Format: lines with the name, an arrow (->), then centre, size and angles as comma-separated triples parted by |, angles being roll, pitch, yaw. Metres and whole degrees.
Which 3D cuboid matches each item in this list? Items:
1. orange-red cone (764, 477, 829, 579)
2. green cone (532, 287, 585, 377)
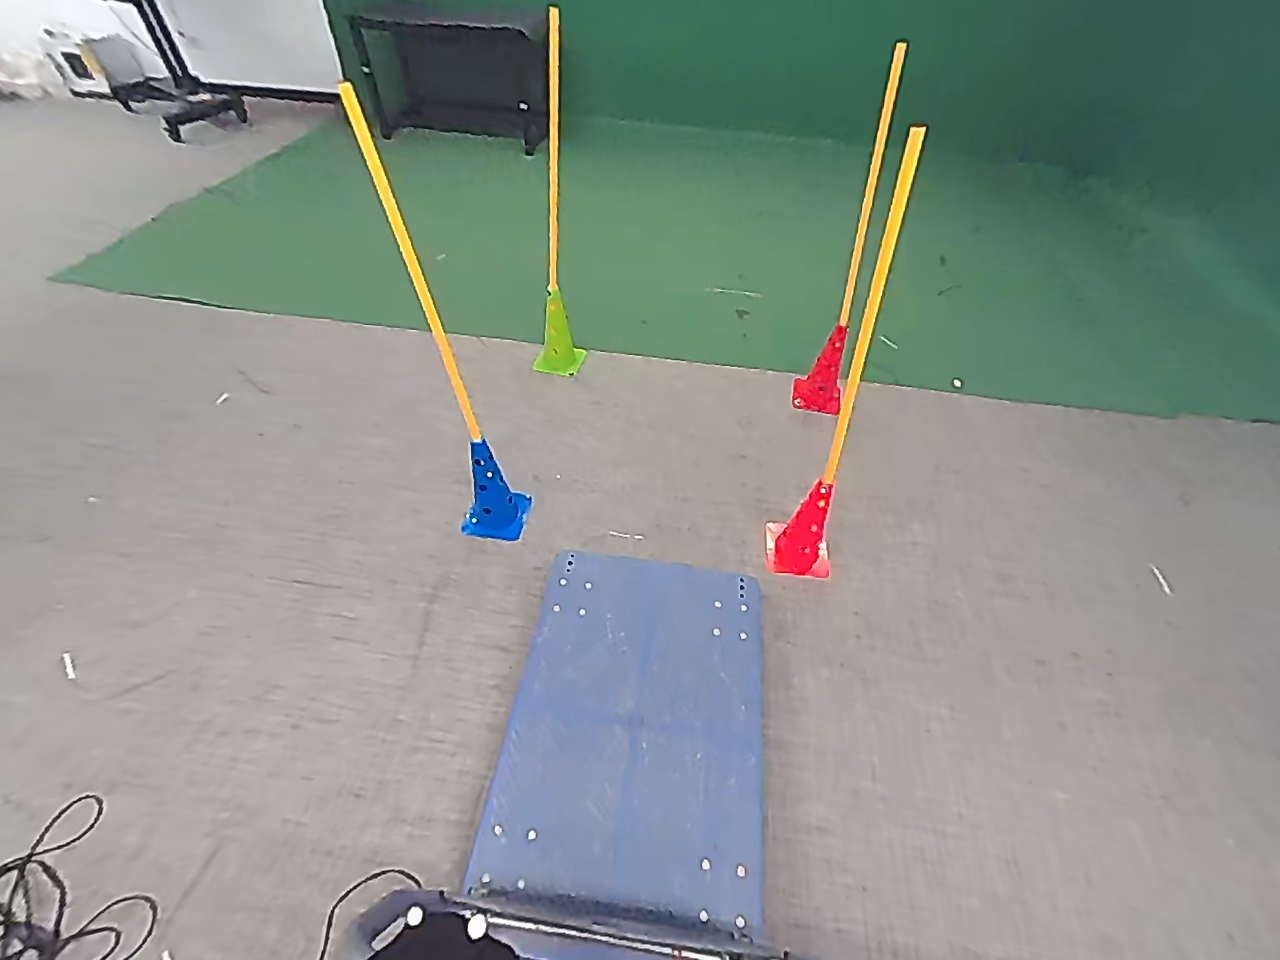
orange-red cone -> 0.515, 0.124, 1.670 | 0.199, 0.360, 0.198 | 6, 48, 5
green cone -> -0.357, -0.645, 2.295 | 0.202, 0.368, 0.200 | 11, 48, 7
